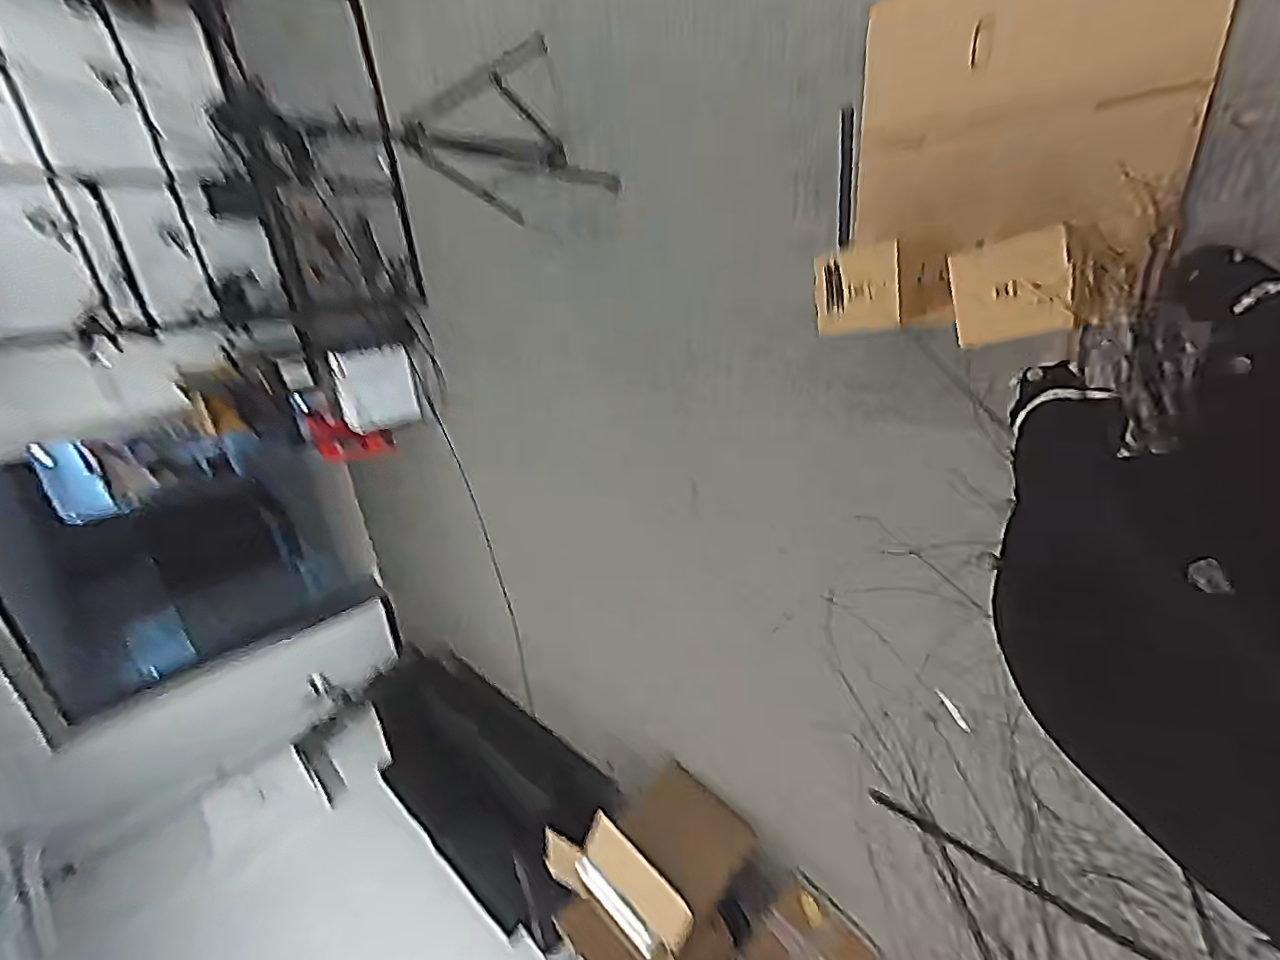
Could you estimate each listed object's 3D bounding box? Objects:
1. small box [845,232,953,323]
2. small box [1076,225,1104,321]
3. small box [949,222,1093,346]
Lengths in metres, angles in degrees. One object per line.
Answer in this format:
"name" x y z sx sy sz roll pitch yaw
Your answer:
"small box" 0.609 -0.473 1.268 0.179 0.176 0.168 3 112 46
"small box" 0.811 -0.400 1.086 0.179 0.176 0.168 -3 106 47
"small box" 0.692 -0.354 0.982 0.179 0.176 0.168 -2 109 47
